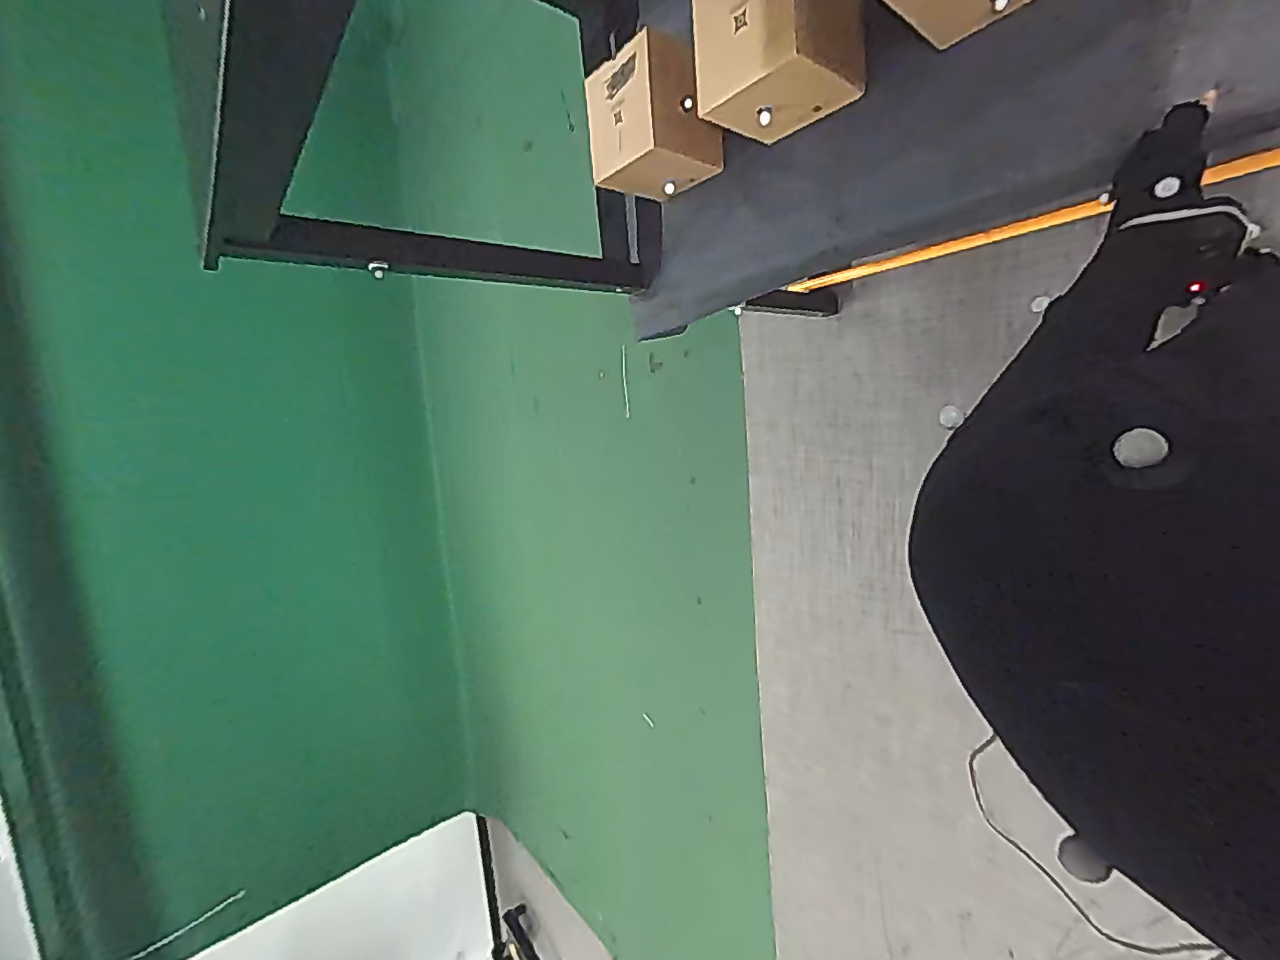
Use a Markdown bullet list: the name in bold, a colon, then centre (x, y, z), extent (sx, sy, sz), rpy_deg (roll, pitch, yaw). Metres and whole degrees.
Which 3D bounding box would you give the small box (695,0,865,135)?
- **small box**: centre (0.197, -0.613, 0.754), extent (0.168, 0.176, 0.179), rpy_deg (4, 101, 50)

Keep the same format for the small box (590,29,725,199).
- **small box**: centre (0.033, -0.621, 0.946), extent (0.168, 0.176, 0.179), rpy_deg (4, 102, 50)
